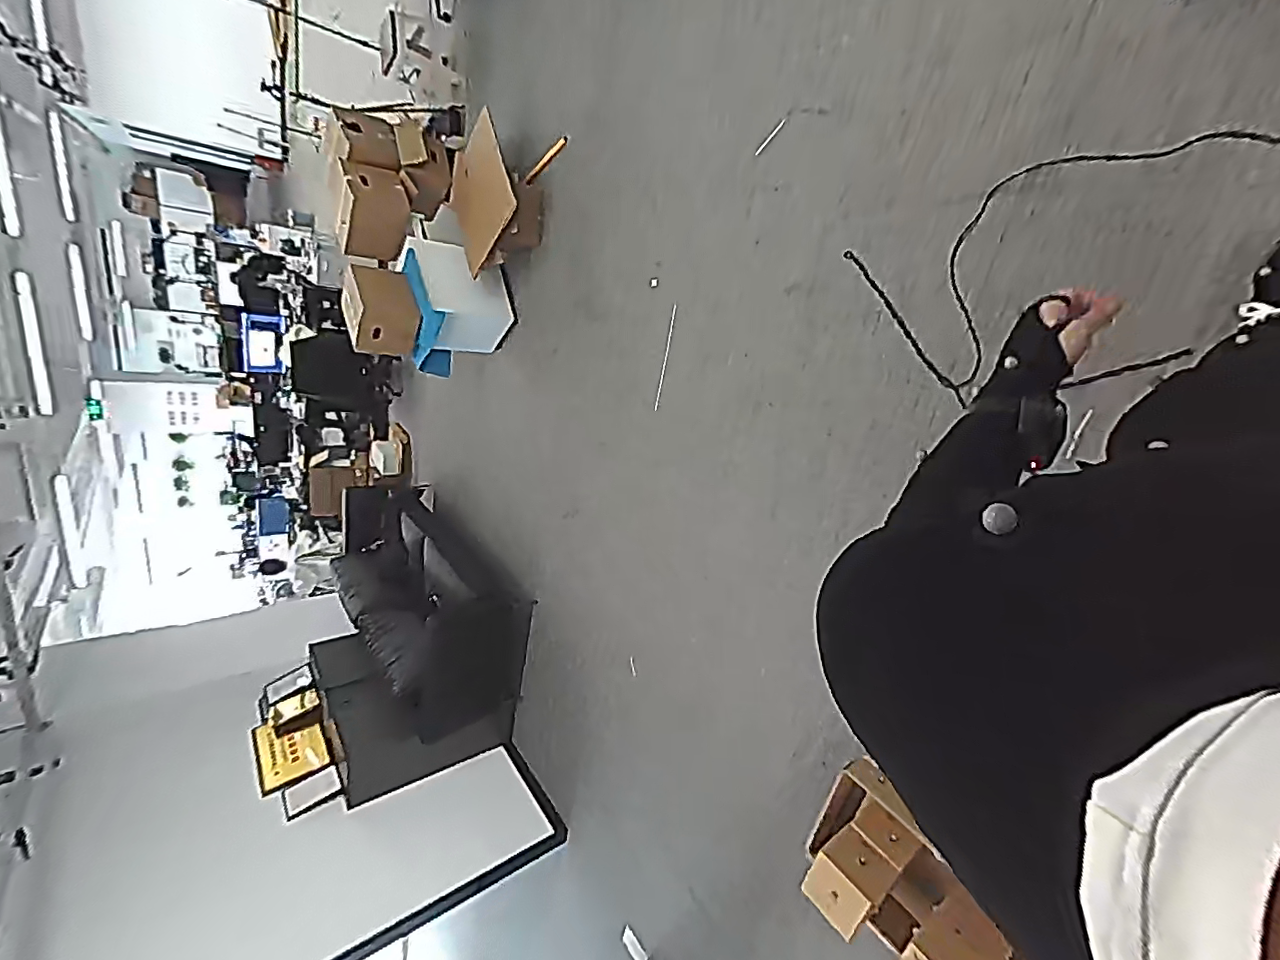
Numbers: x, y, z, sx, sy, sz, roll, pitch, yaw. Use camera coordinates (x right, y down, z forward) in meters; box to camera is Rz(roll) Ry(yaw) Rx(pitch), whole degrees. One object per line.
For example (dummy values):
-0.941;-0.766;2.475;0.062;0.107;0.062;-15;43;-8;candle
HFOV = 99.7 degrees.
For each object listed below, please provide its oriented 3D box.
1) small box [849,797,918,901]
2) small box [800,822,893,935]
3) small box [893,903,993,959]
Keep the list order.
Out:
0.733;1.137;1.679;0.168;0.176;0.179;35;120;42;small box
0.606;1.151;1.576;0.168;0.176;0.179;35;121;42;small box
0.769;1.252;1.383;0.168;0.176;0.179;33;119;44;small box
